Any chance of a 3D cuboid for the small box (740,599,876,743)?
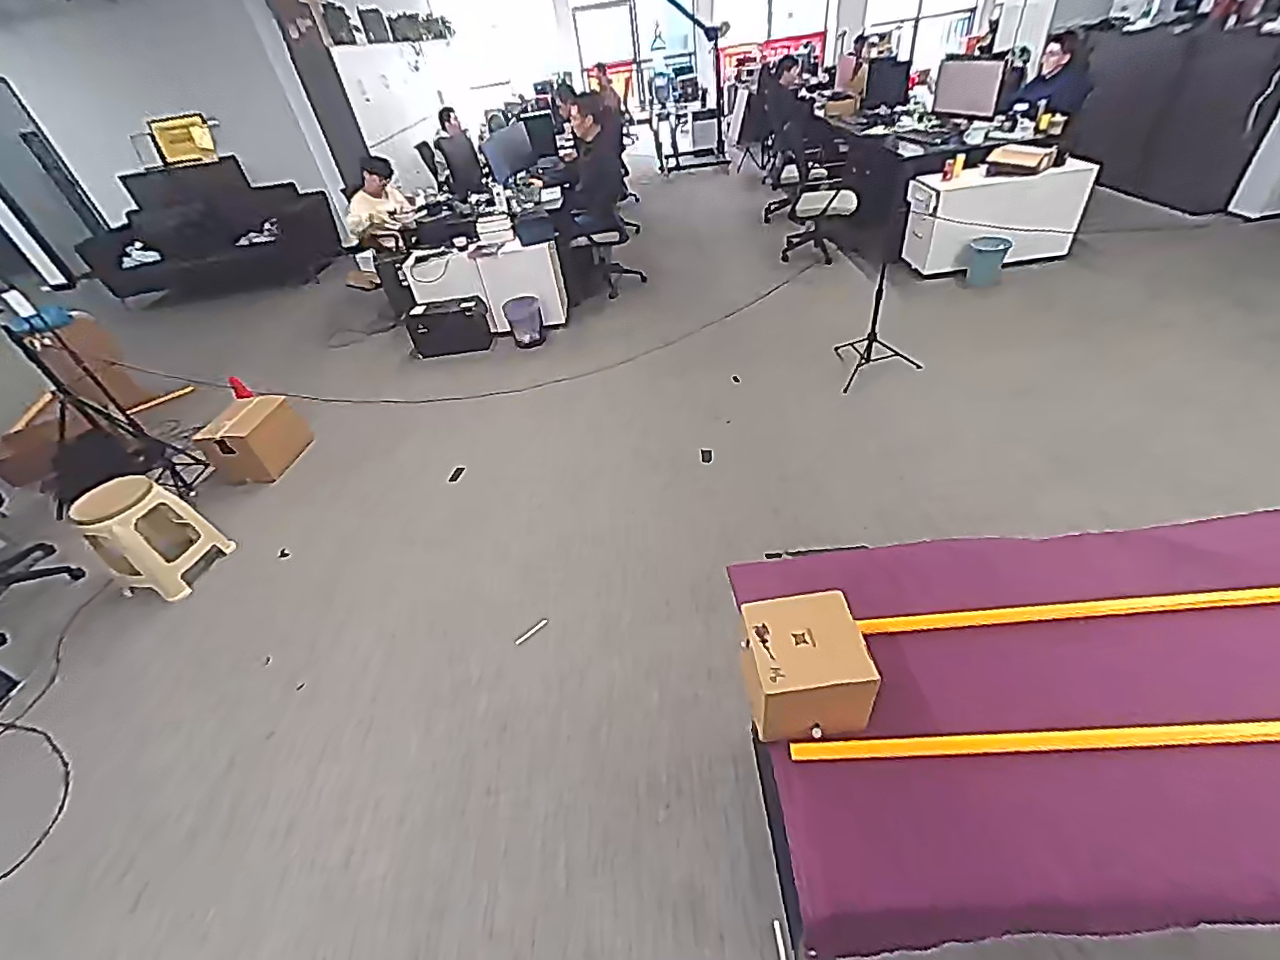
[{"bbox_3d":[0.272,0.326,0.920,0.179,0.176,0.168,-7,41,1],"label":"small box"}]
